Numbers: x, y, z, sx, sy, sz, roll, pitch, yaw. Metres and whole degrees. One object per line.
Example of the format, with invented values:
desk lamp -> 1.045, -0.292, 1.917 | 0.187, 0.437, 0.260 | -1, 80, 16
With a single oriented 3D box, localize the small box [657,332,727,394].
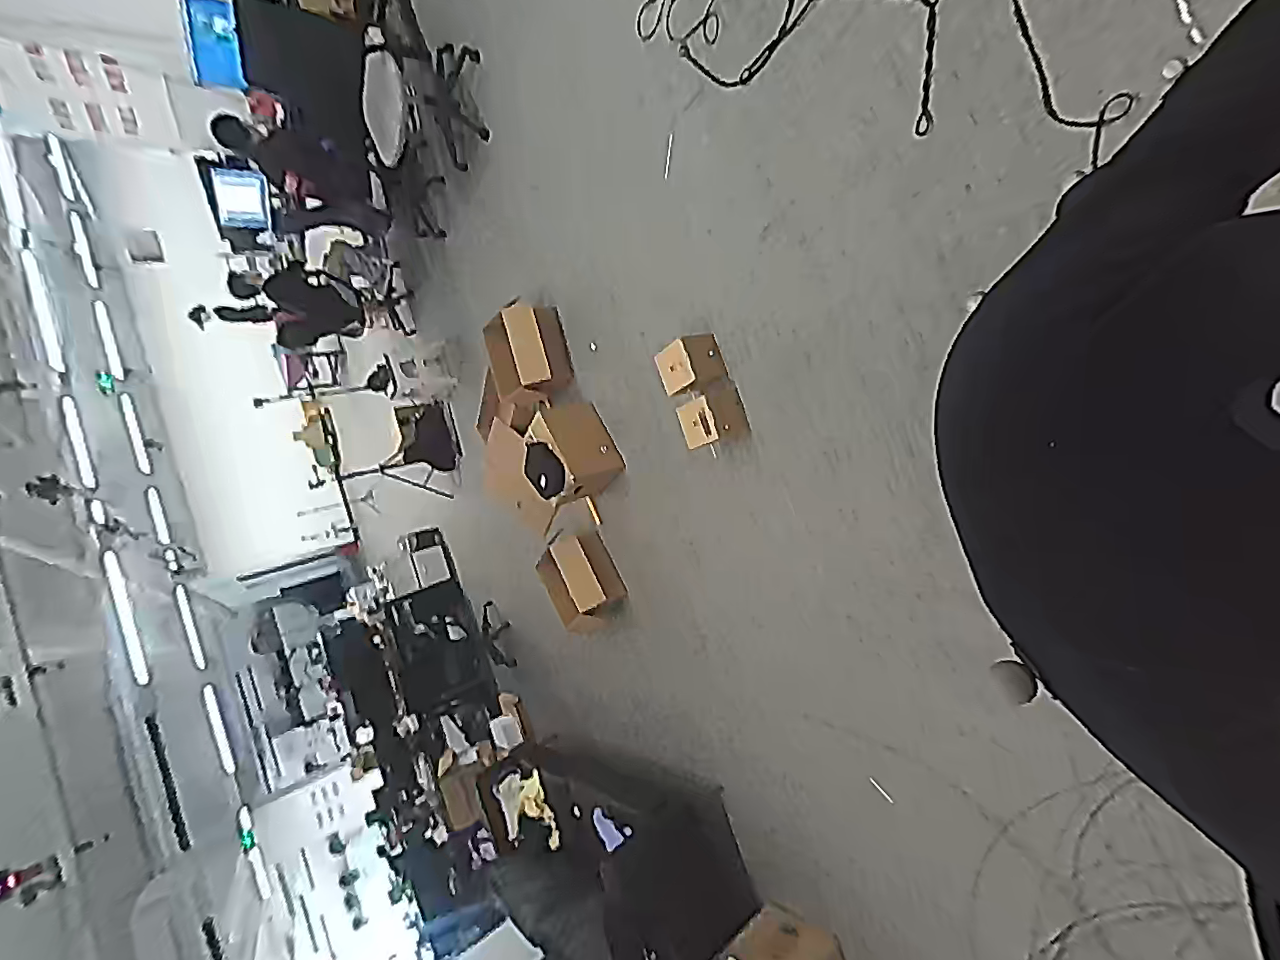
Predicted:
small box -> 0.197, -0.442, 2.040 | 0.179, 0.176, 0.168 | -25, 84, 55
